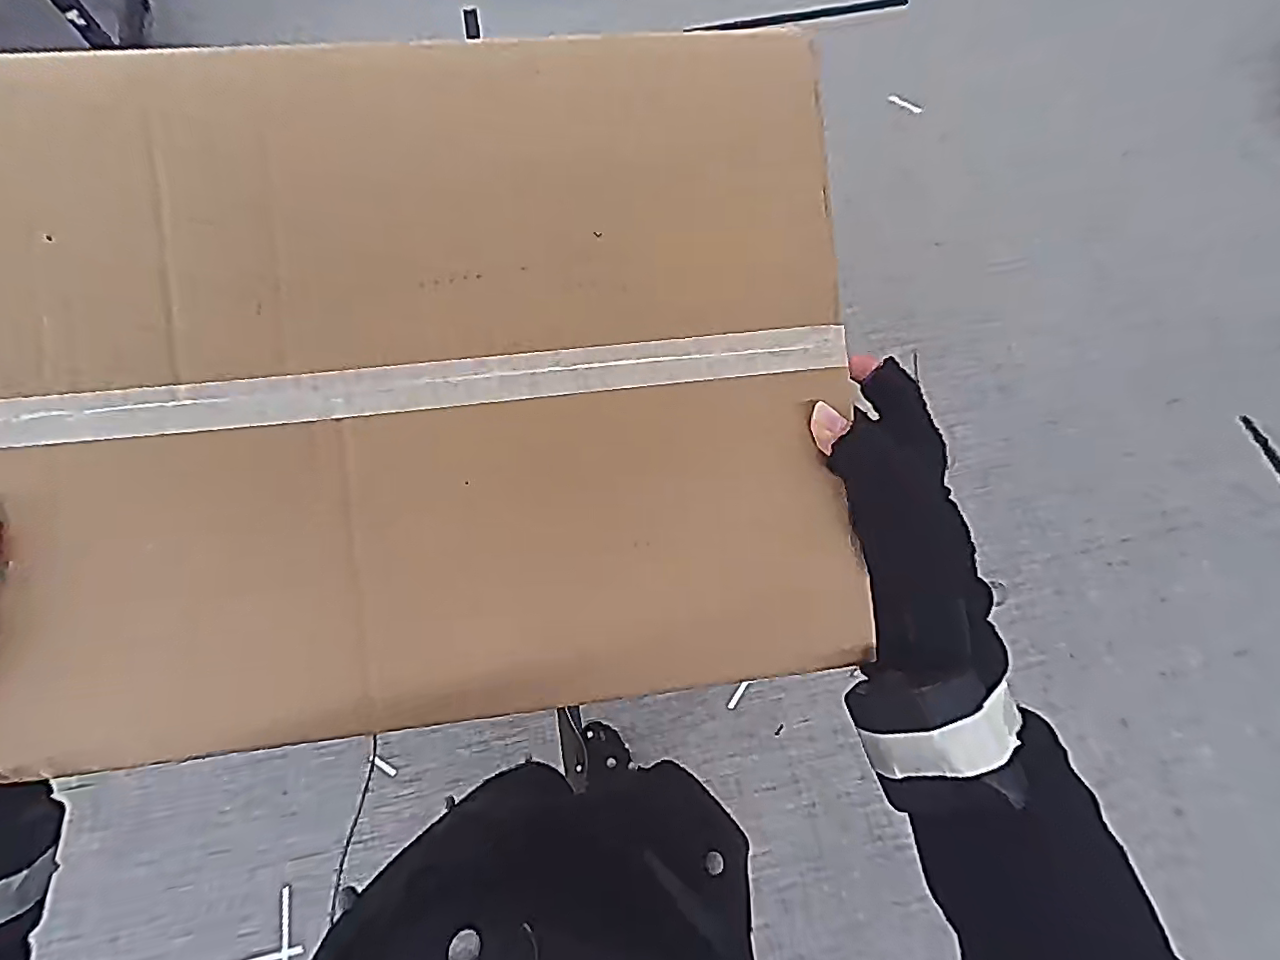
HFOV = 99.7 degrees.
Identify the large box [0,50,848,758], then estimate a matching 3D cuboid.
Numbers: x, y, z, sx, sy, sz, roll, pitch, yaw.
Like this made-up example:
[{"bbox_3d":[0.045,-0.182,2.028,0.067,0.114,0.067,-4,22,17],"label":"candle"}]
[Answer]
[{"bbox_3d":[-0.114,-0.048,0.409,0.408,0.320,0.320,-6,91,-5],"label":"large box"}]
